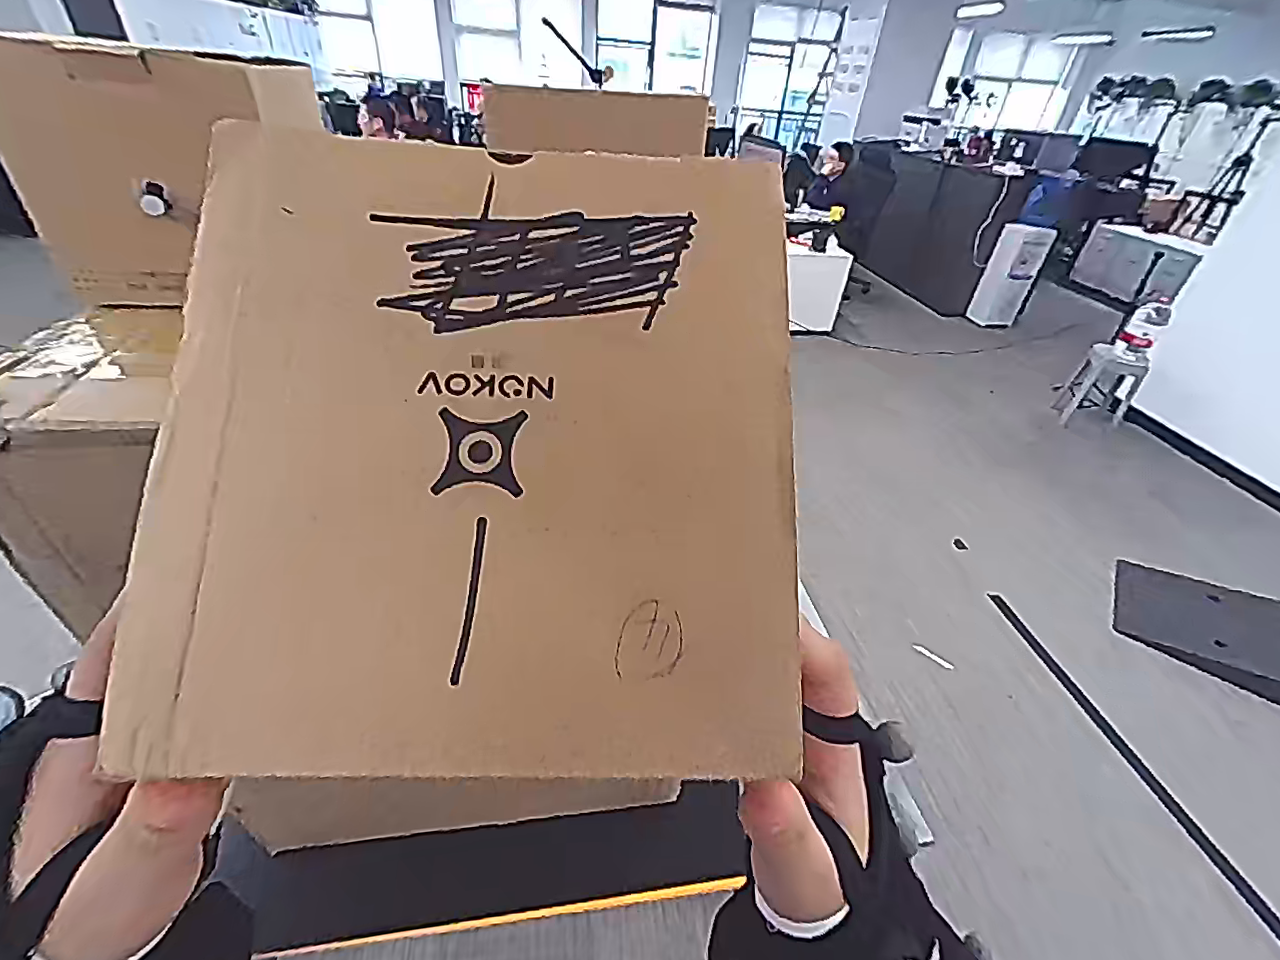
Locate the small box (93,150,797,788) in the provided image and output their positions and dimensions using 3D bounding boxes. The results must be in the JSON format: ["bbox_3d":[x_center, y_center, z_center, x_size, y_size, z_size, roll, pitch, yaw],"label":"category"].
[{"bbox_3d":[-0.046,0.007,0.225,0.168,0.176,0.179,2,76,-3],"label":"small box"}]

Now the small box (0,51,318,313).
[{"bbox_3d":[-0.370,-0.247,0.456,0.168,0.176,0.179,-4,37,-13],"label":"small box"}]

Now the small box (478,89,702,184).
[{"bbox_3d":[-0.046,-0.254,0.503,0.168,0.176,0.179,-3,36,-6],"label":"small box"}]
